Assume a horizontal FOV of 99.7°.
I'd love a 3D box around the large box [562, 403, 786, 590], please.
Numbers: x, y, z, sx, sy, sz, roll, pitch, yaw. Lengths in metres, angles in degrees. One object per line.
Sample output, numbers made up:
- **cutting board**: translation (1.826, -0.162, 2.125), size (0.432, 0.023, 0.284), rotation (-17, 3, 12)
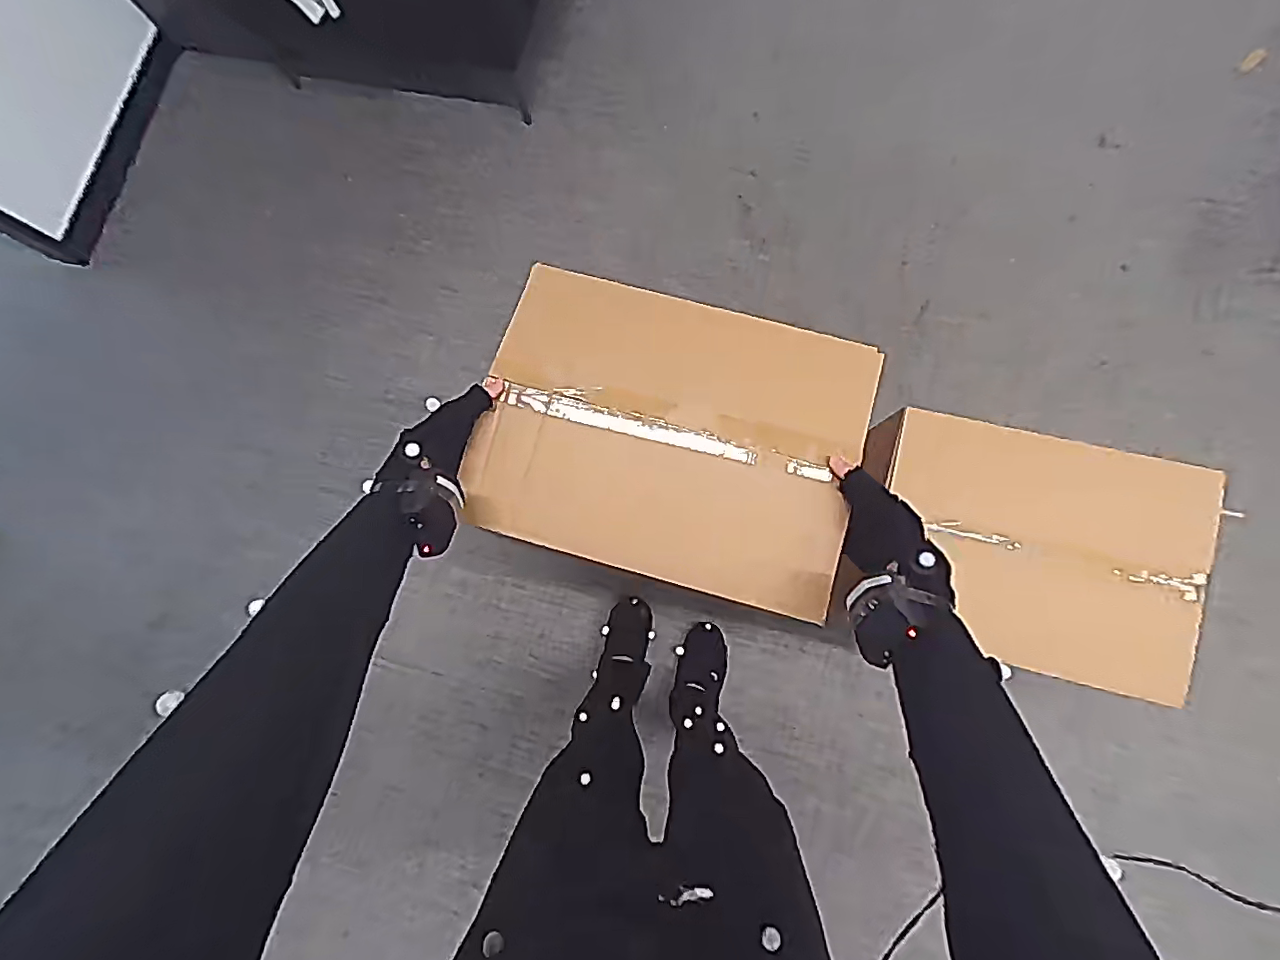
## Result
- **large box**: translation (0.087, 0.051, 1.234), size (0.408, 0.320, 0.320), rotation (14, 80, 9)
